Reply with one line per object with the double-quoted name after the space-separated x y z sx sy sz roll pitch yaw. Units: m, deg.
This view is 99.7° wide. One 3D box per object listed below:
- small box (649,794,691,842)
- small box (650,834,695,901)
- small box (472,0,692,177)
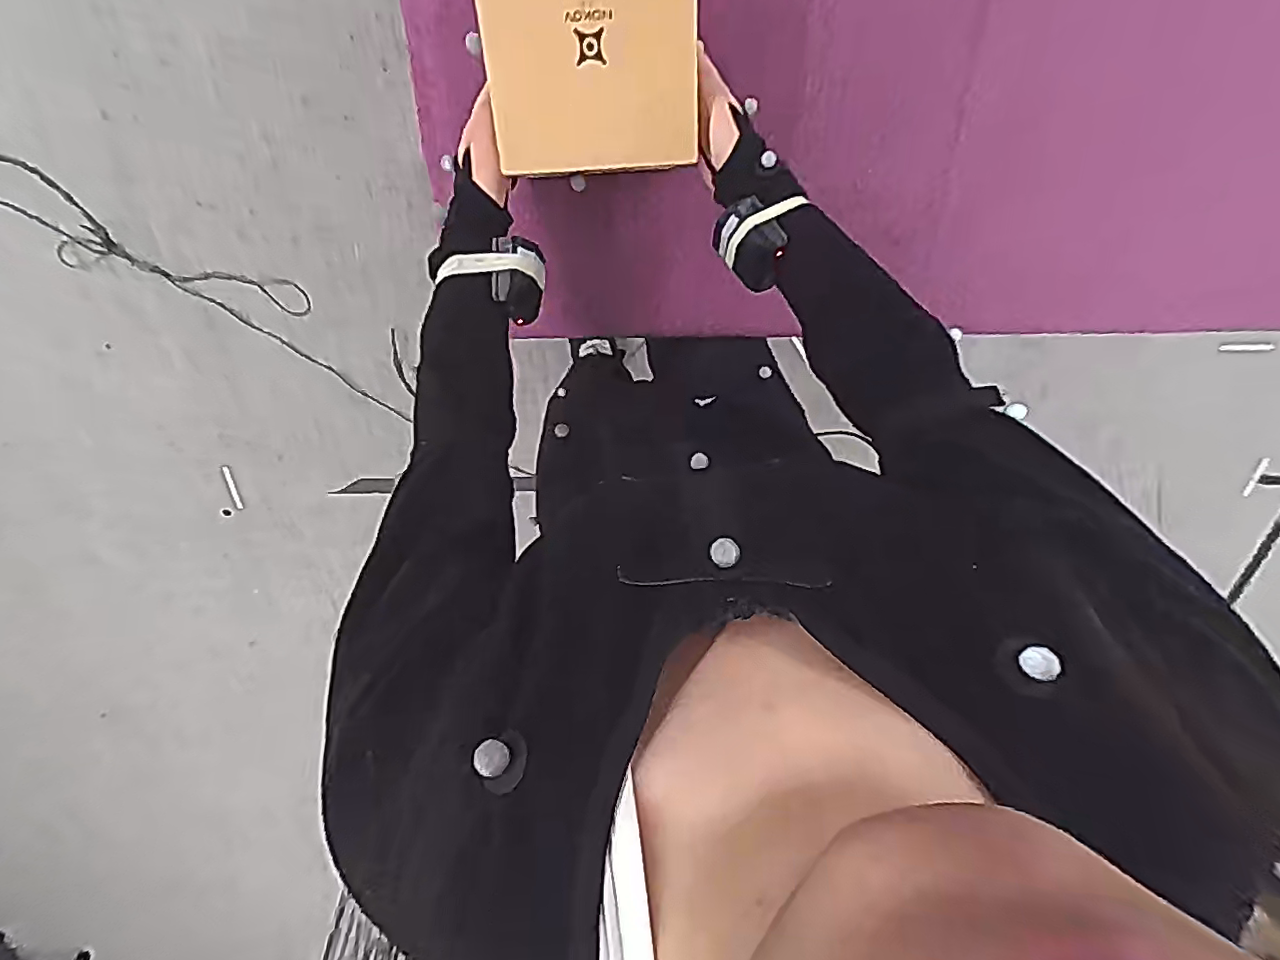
0.127 1.484 2.335 0.168 0.176 0.179 -5 120 0 "small box"
0.130 1.563 2.191 0.168 0.176 0.179 -4 119 -1 "small box"
-0.045 -0.373 0.480 0.168 0.176 0.179 -5 118 -1 "small box"
